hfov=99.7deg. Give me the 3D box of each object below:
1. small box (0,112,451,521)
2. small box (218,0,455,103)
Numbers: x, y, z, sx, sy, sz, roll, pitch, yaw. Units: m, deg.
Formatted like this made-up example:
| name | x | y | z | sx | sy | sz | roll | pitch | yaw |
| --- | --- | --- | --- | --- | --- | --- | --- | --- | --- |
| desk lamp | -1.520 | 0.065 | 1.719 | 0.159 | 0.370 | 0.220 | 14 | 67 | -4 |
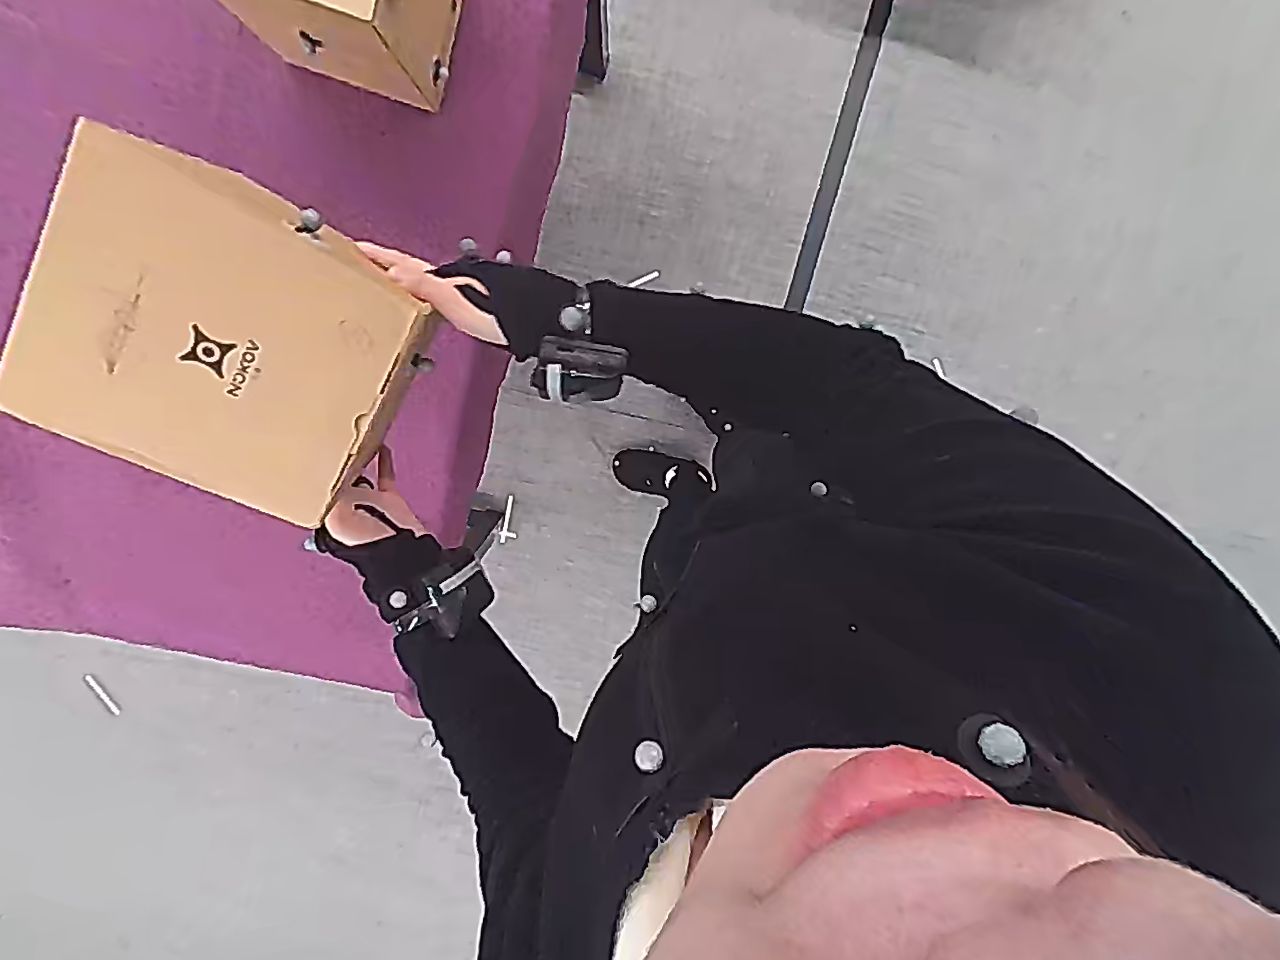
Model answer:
| name | x | y | z | sx | sy | sz | roll | pitch | yaw |
| --- | --- | --- | --- | --- | --- | --- | --- | --- | --- |
| small box | -0.251 | -0.104 | 0.378 | 0.179 | 0.176 | 0.168 | 28 | 102 | -21 |
| small box | -0.290 | -0.504 | 0.519 | 0.179 | 0.176 | 0.168 | 16 | 101 | -5 |
